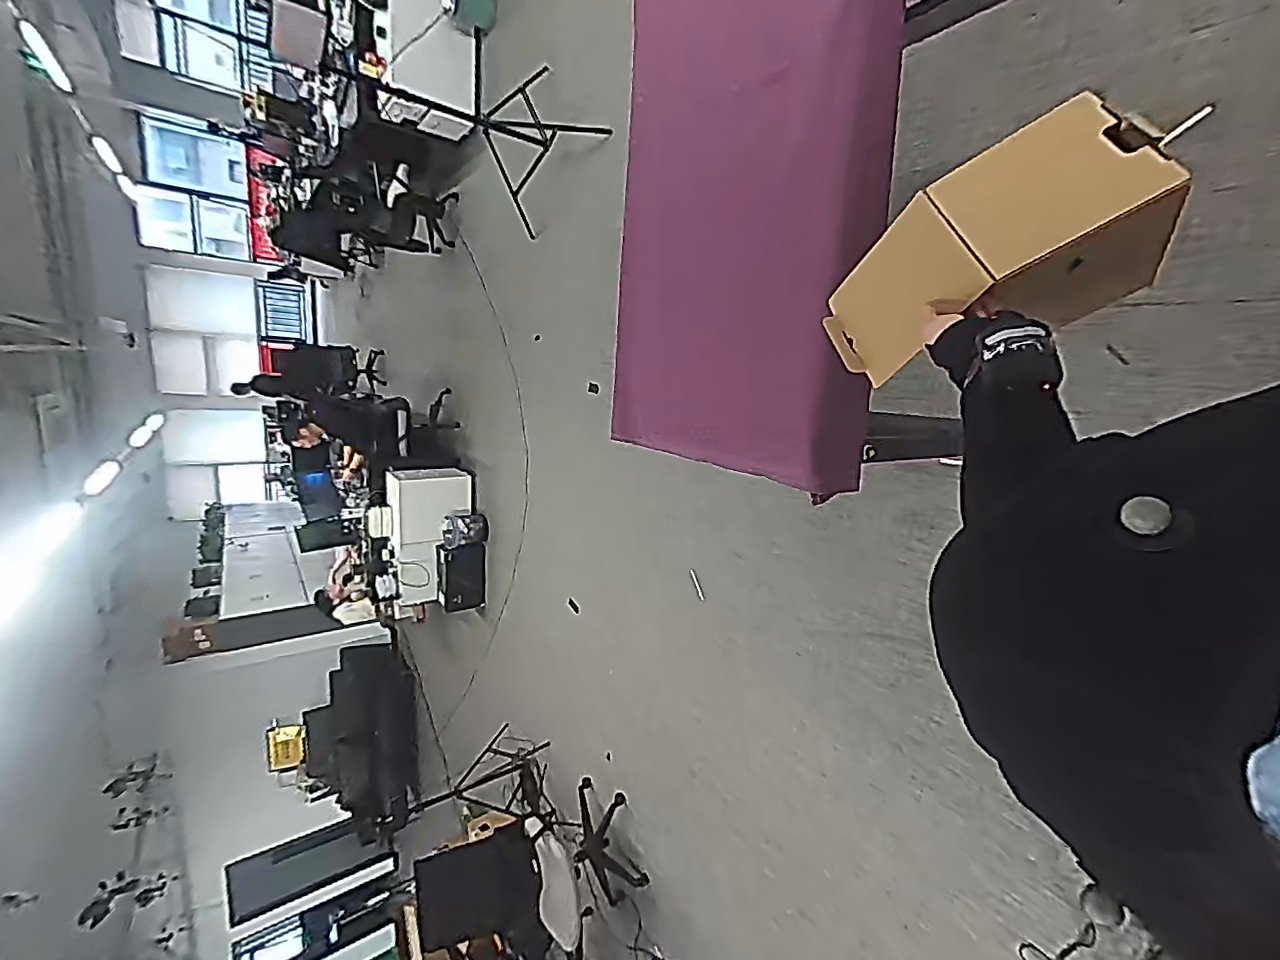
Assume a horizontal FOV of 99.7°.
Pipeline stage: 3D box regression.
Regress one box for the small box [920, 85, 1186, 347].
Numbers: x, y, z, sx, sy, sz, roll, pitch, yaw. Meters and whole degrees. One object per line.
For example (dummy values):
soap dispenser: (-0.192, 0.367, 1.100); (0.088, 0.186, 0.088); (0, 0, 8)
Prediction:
small box: (0.458, -0.289, 0.628); (0.179, 0.176, 0.168); (-27, 59, 22)
